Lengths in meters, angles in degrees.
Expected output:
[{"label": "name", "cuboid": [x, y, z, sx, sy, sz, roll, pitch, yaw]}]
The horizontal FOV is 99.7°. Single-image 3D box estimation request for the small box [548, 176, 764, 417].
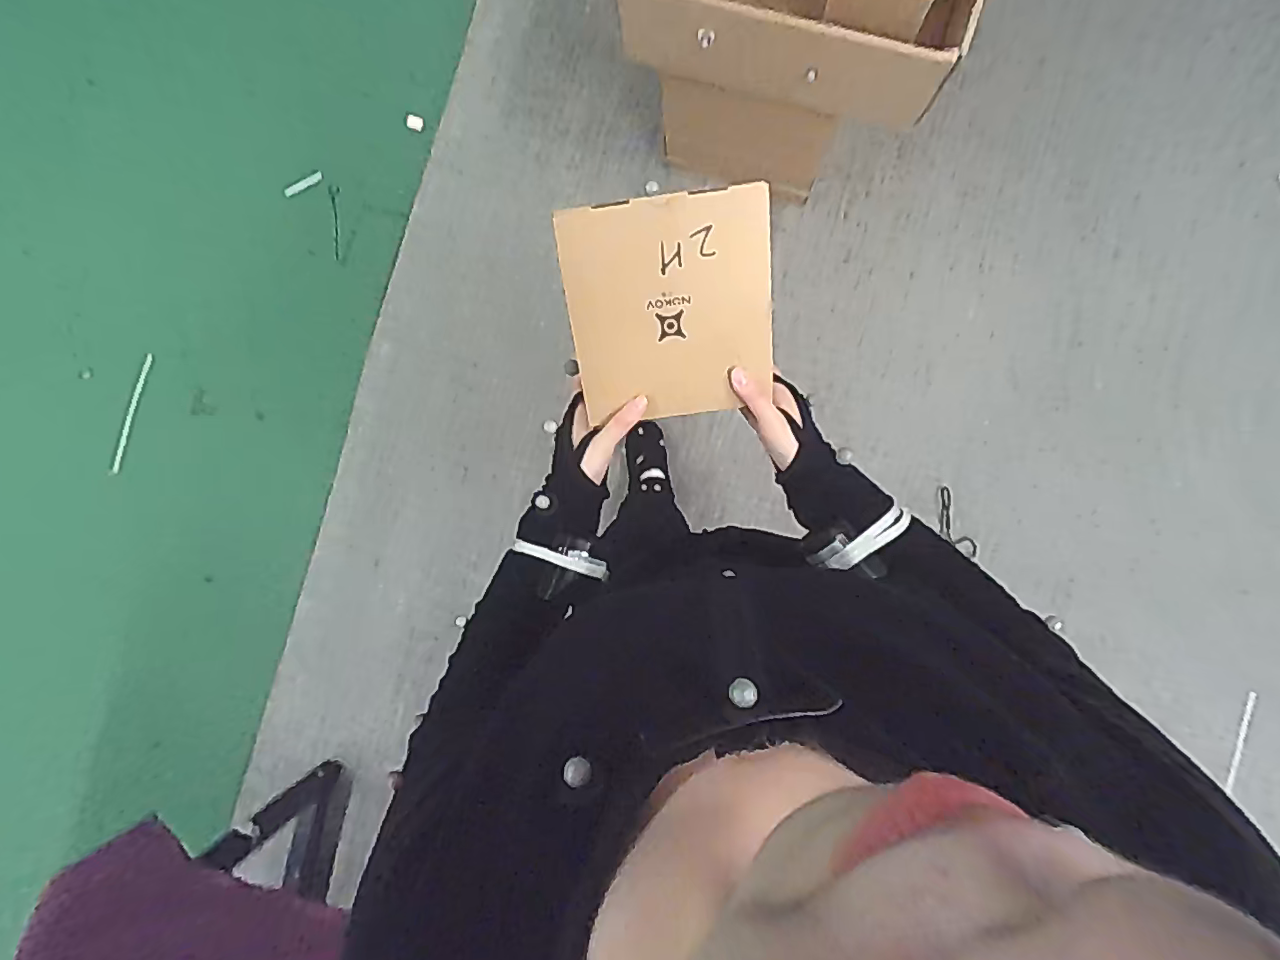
[{"label": "small box", "cuboid": [0.019, -0.175, 0.512, 0.168, 0.176, 0.179, -7, 115, 1]}]
